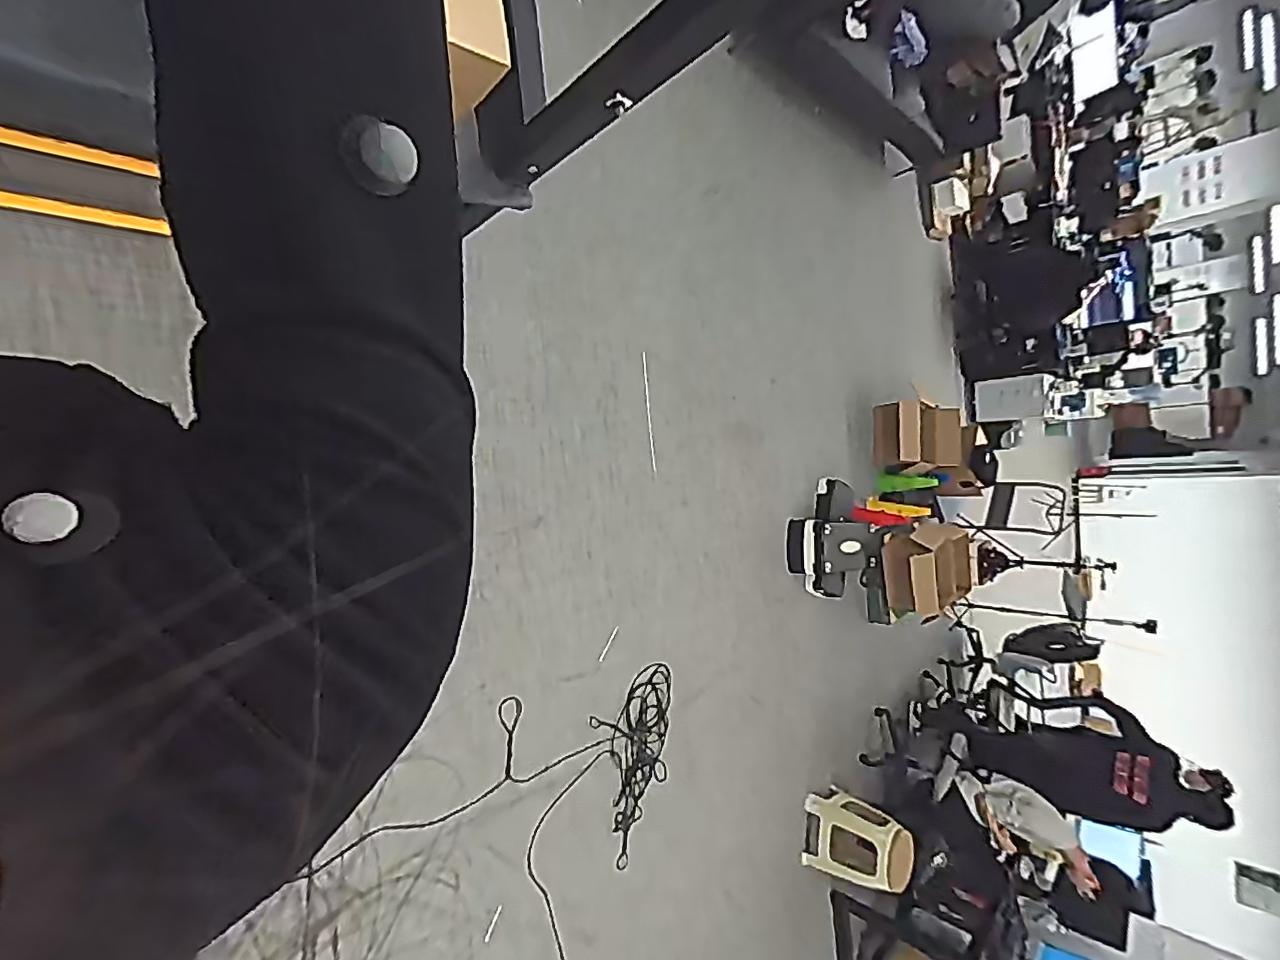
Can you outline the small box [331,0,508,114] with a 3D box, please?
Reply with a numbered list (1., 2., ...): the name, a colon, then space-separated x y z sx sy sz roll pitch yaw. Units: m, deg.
1. small box: -0.304 -0.642 0.732 0.168 0.176 0.179 -13 98 -45
